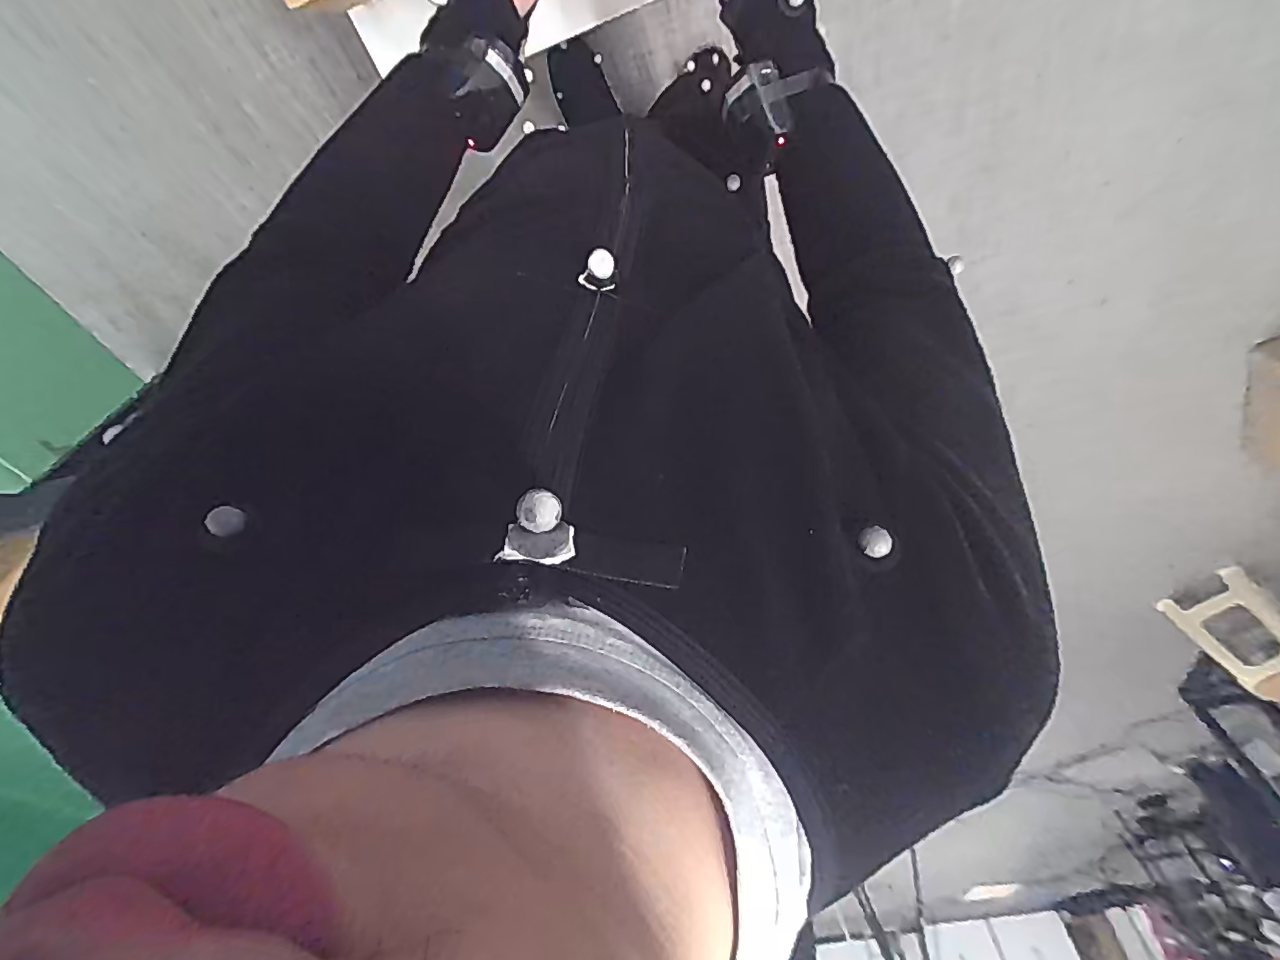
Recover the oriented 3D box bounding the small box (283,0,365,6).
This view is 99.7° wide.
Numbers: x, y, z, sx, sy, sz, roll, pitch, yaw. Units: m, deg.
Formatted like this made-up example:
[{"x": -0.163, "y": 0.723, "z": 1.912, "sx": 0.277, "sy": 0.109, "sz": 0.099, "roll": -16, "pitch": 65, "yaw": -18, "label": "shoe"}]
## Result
[{"x": -0.270, "y": -0.562, "z": 0.489, "sx": 0.179, "sy": 0.176, "sz": 0.168, "roll": -17, "pitch": 131, "yaw": 7, "label": "small box"}]
